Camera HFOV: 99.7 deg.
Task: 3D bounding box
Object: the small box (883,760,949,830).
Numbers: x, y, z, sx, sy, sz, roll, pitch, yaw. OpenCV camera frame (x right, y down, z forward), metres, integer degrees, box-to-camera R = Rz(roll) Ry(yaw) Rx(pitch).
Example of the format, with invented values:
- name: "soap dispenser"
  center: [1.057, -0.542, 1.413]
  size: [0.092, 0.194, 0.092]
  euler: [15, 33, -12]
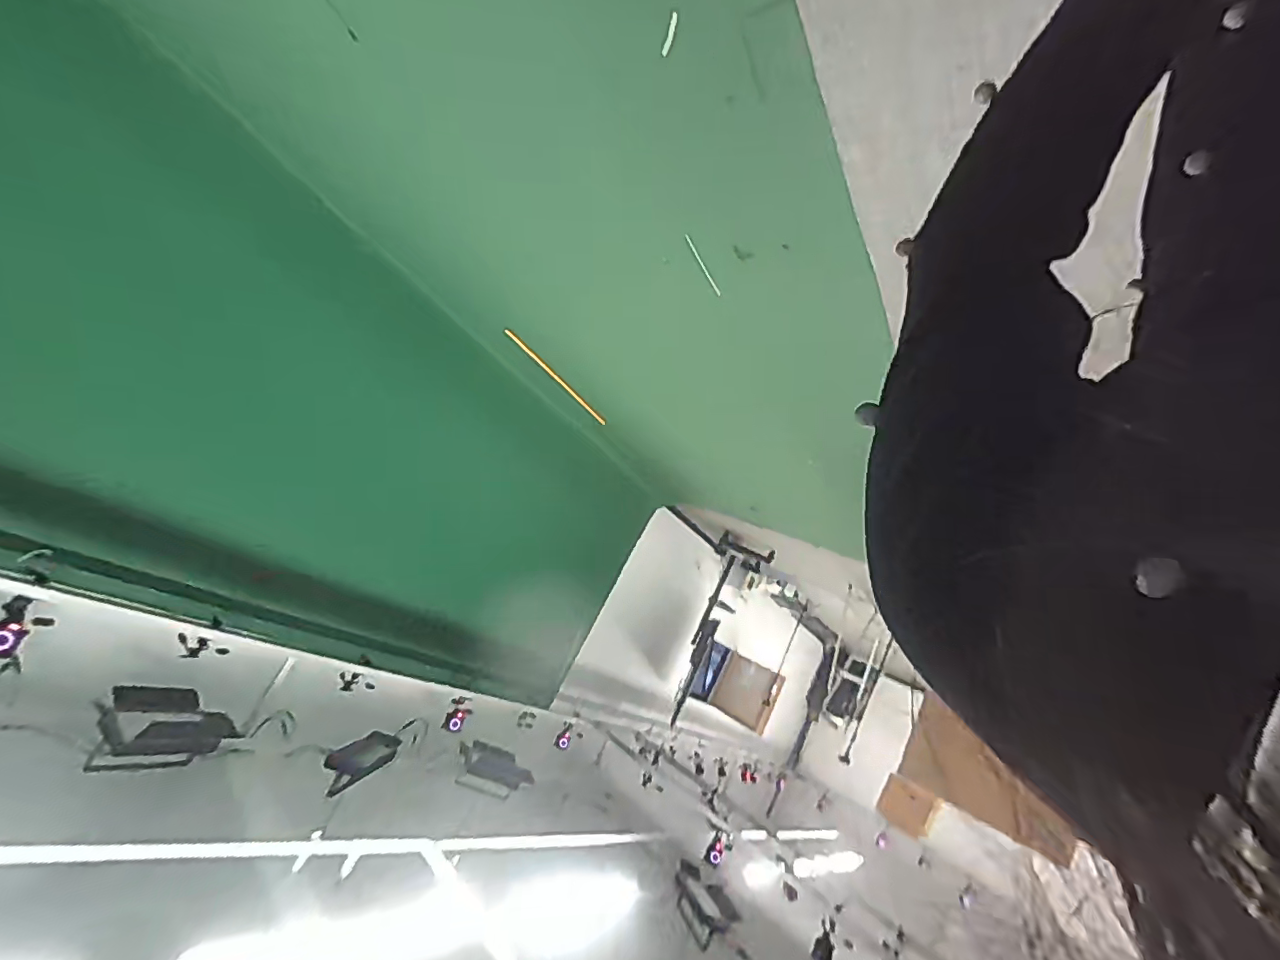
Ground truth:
- name: "small box"
  center: [1.063, 1.206, 2.074]
  size: [0.168, 0.176, 0.179]
  euler: [20, 164, 43]
